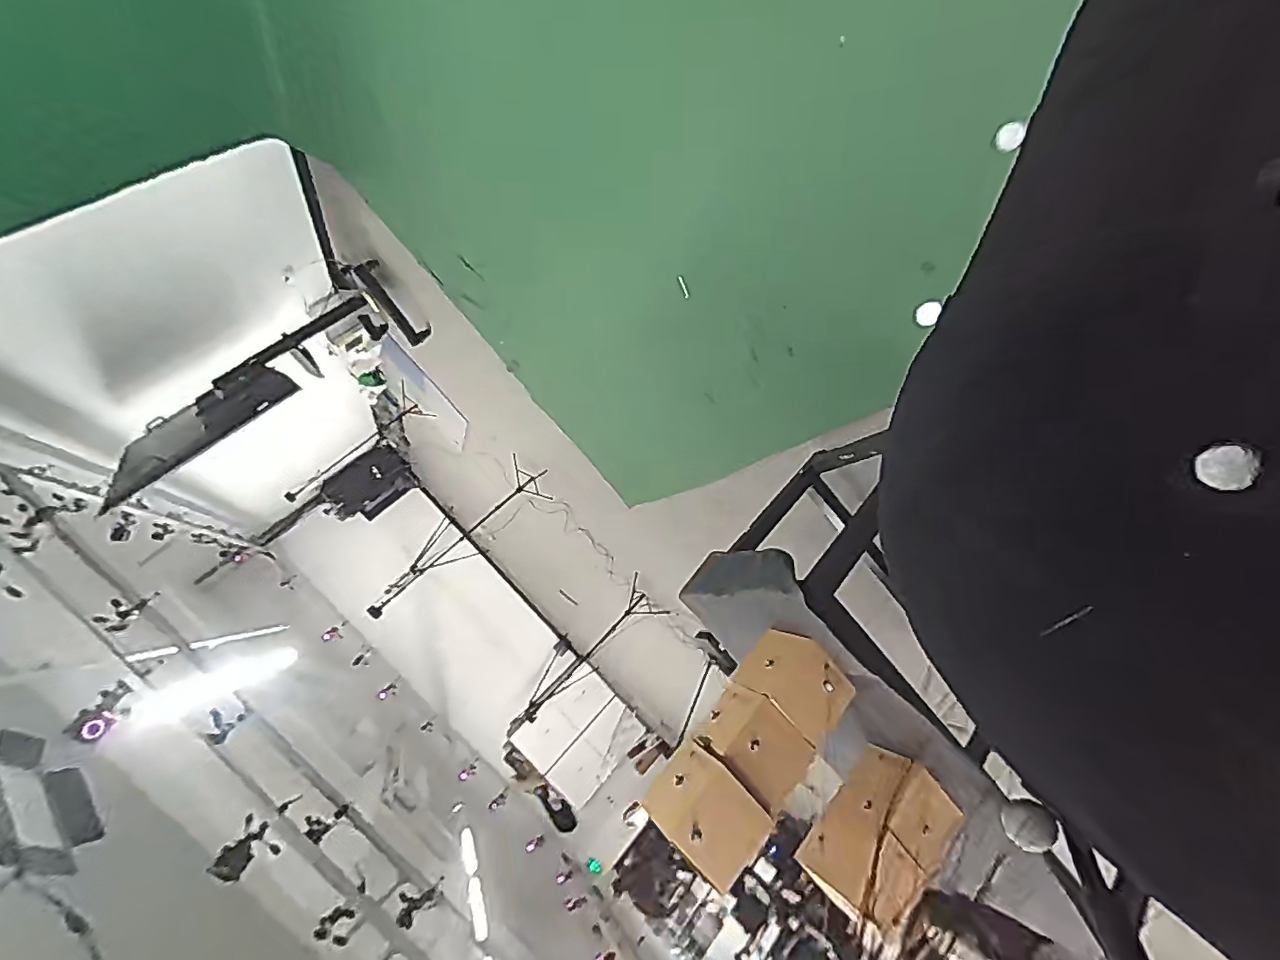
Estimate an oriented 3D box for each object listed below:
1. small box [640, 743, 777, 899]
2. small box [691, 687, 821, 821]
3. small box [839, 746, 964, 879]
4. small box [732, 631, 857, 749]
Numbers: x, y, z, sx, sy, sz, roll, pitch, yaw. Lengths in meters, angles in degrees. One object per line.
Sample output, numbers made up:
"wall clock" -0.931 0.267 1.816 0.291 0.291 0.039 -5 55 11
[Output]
"small box" 0.137 0.673 1.093 0.179 0.176 0.168 50 160 -8
"small box" 0.250 0.581 1.174 0.179 0.176 0.168 47 160 -4
"small box" 0.617 0.771 1.274 0.179 0.176 0.168 49 158 -8
"small box" 0.352 0.469 1.231 0.168 0.176 0.179 51 158 -11
